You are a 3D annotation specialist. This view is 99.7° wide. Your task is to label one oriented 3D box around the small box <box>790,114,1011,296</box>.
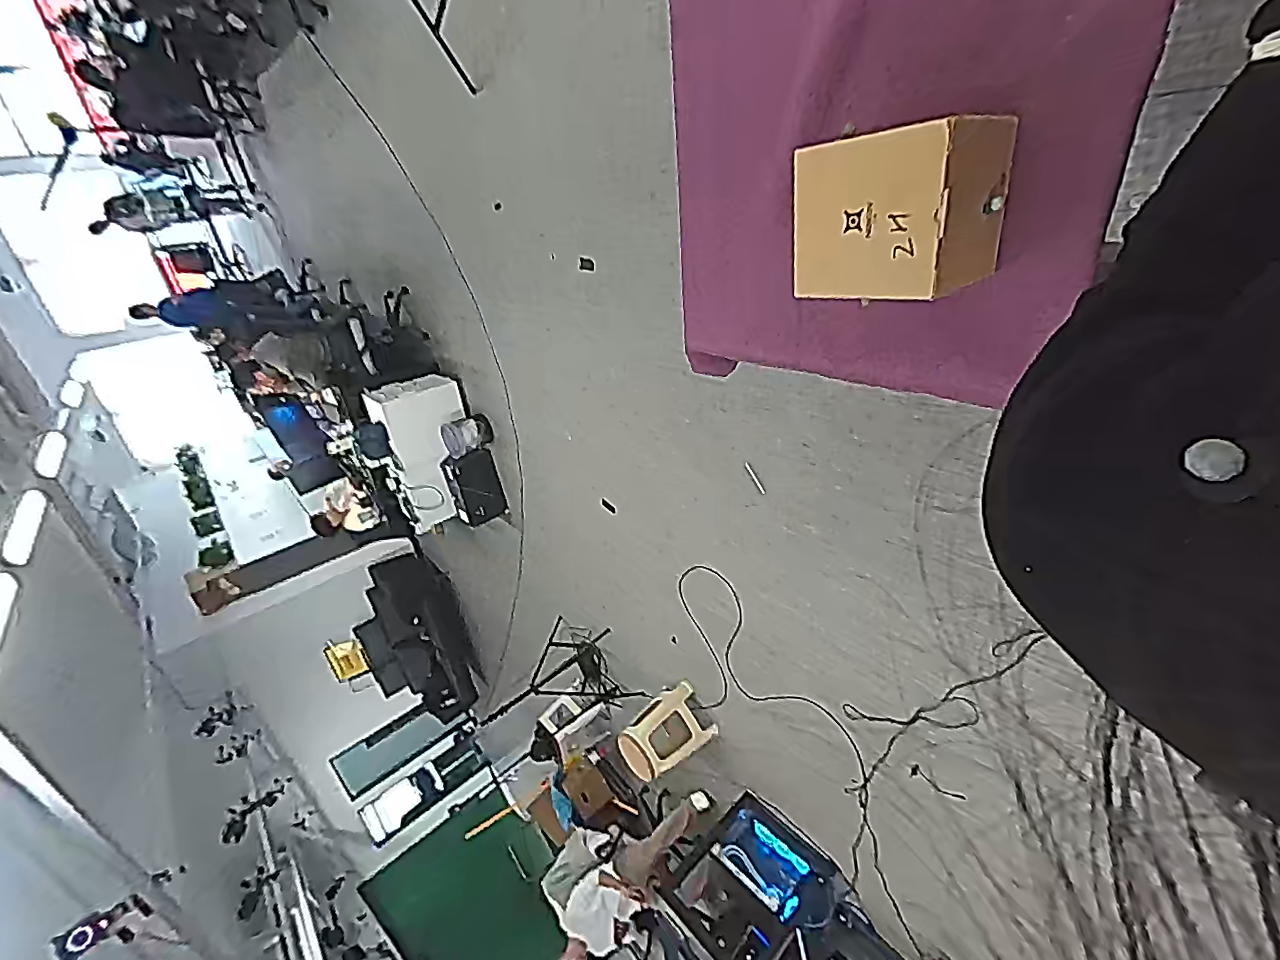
[{"bbox_3d":[0.301,-0.321,0.644,0.179,0.176,0.168,22,129,45],"label":"small box"}]
